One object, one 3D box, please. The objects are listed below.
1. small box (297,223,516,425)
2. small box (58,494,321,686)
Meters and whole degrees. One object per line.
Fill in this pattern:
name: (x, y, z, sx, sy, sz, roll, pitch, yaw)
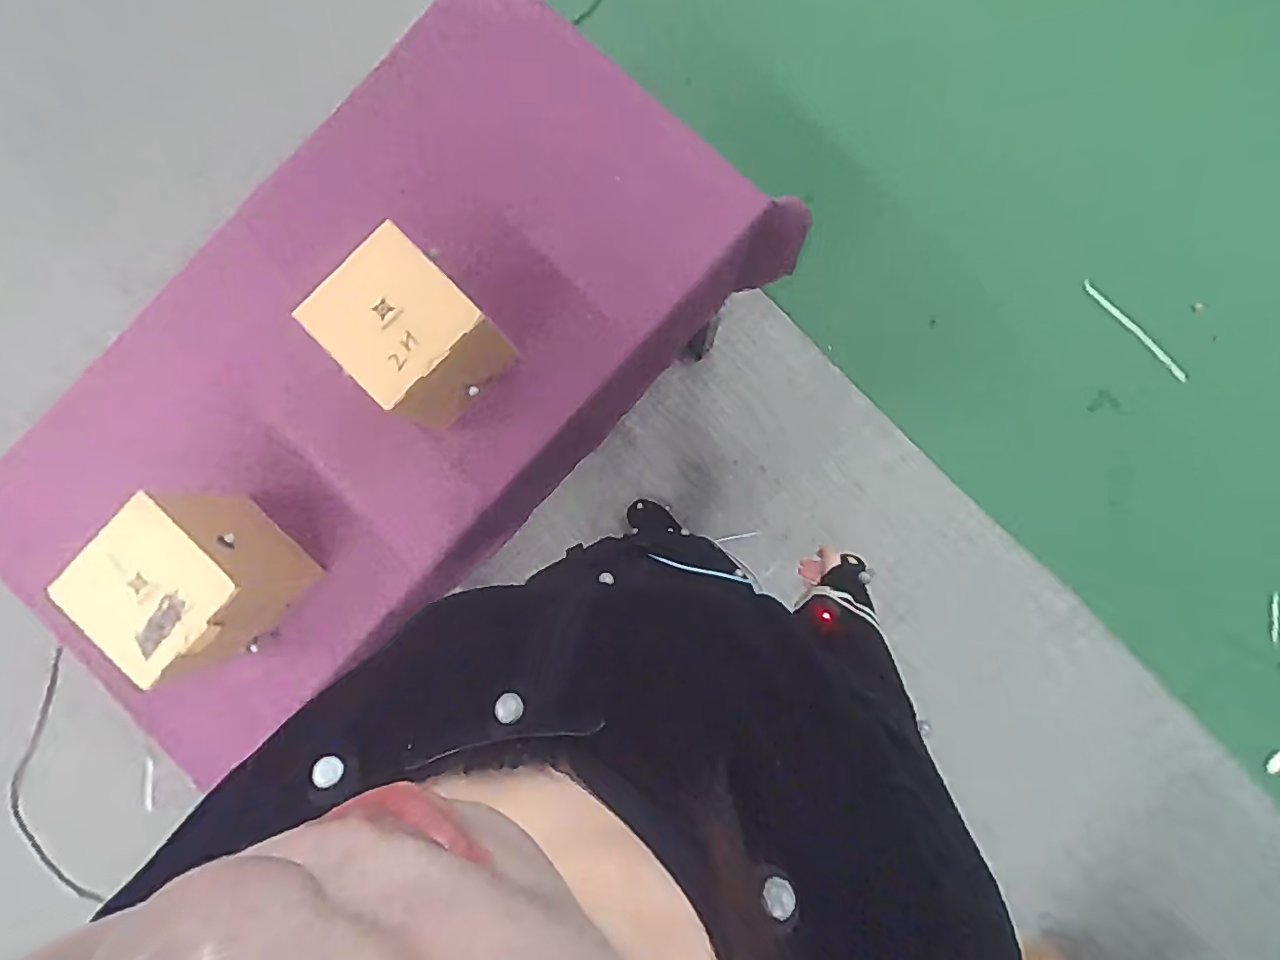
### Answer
small box: (-0.299, -0.194, 0.731, 0.168, 0.176, 0.179, -45, 86, 1)
small box: (-0.583, 0.135, 0.726, 0.179, 0.176, 0.168, 42, 89, 5)
